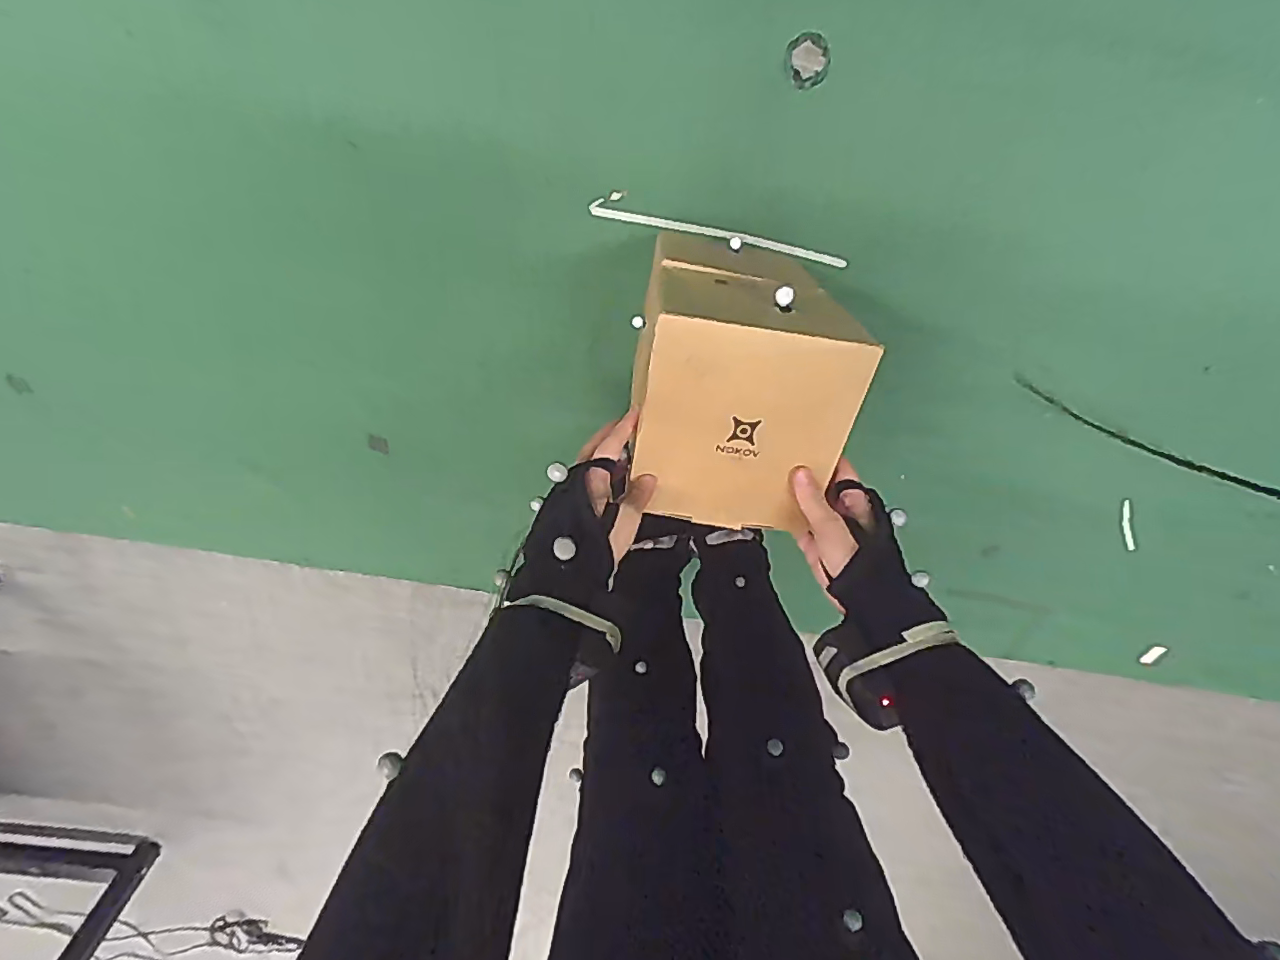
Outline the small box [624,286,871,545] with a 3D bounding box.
[{"bbox_3d":[0.077,-0.066,0.496,0.168,0.176,0.179,7,123,-3],"label":"small box"}]
